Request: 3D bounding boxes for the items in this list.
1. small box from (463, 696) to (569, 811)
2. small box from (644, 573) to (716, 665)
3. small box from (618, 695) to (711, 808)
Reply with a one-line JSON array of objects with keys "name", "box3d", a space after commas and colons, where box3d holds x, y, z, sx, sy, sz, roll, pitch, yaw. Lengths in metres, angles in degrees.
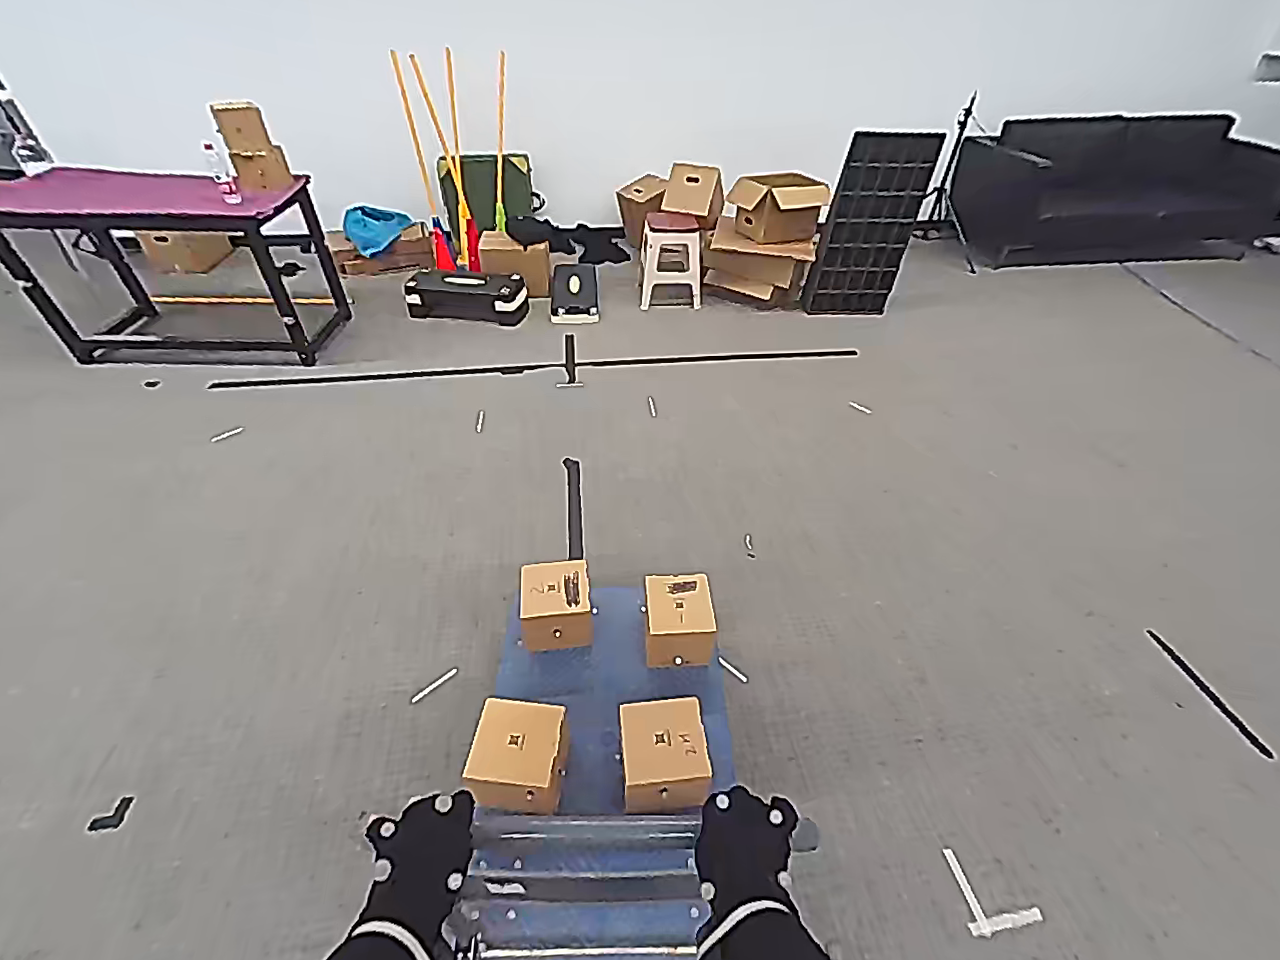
[{"name": "small box", "box3d": [-0.256, 0.590, 1.163, 0.179, 0.176, 0.168, 5, 42, 3]}, {"name": "small box", "box3d": [0.098, 0.365, 1.419, 0.168, 0.176, 0.179, -1, 44, -3]}, {"name": "small box", "box3d": [0.047, 0.590, 1.170, 0.179, 0.176, 0.168, -3, 43, -5]}]
